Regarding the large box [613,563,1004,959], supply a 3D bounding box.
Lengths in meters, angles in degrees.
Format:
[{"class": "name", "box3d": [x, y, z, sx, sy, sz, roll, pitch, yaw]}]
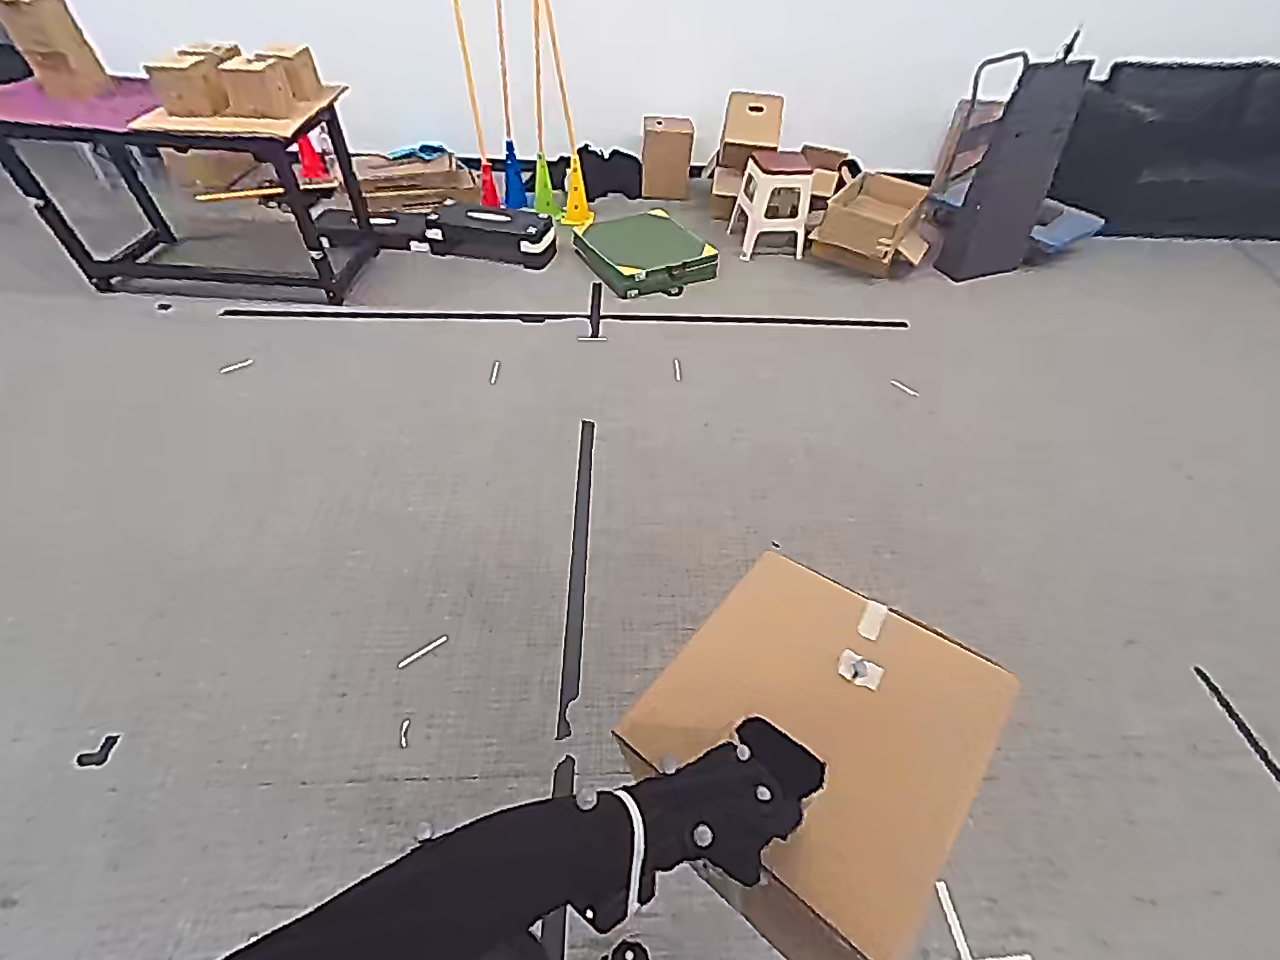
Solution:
[{"class": "large box", "box3d": [0.216, 0.388, 0.713, 0.320, 0.408, 0.320, 28, 57, 37]}]
